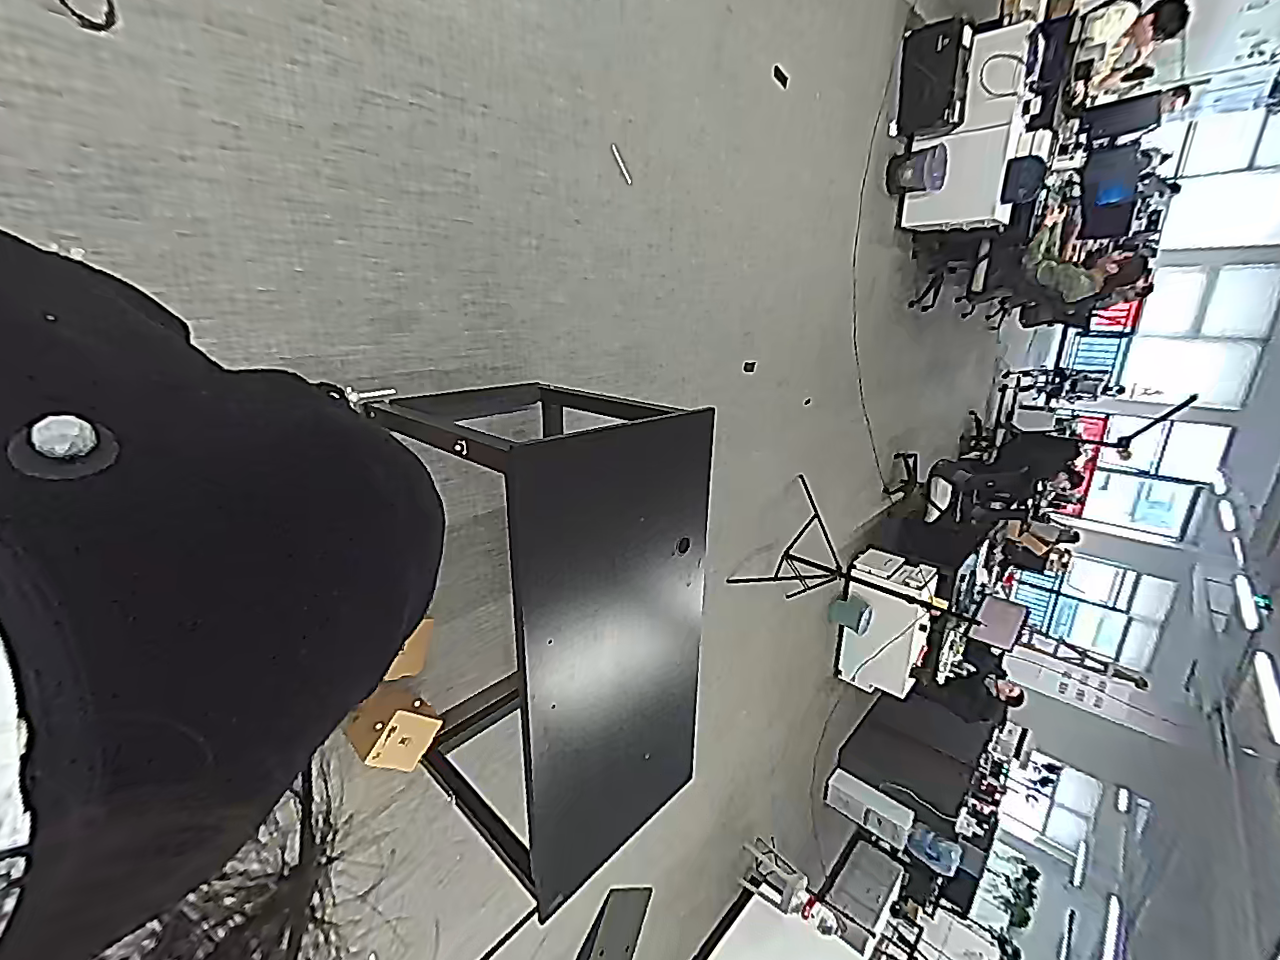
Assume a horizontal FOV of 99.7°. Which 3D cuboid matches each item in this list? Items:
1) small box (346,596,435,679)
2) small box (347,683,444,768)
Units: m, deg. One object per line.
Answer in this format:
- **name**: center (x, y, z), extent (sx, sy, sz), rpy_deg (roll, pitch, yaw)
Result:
- **small box**: center (-0.727, 0.449, 1.566), extent (0.168, 0.176, 0.179), rpy_deg (12, 93, -50)
- **small box**: center (-0.744, 0.742, 1.642), extent (0.179, 0.176, 0.168), rpy_deg (45, 69, -46)
